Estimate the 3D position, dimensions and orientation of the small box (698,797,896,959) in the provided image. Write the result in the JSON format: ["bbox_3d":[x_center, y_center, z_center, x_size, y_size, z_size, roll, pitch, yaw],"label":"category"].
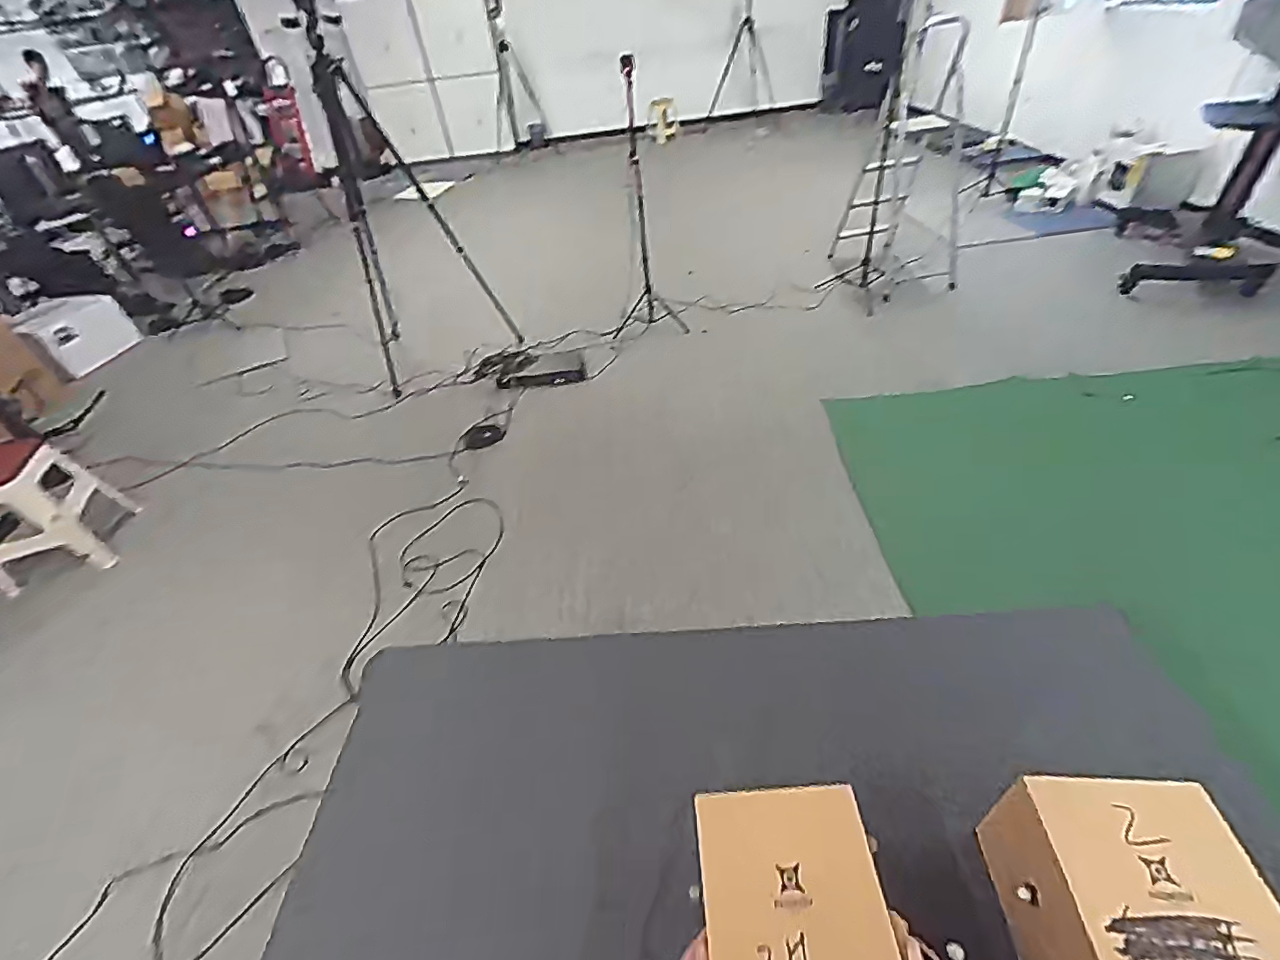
[{"bbox_3d":[0.150,0.455,0.555,0.168,0.176,0.179,-7,40,5],"label":"small box"}]
